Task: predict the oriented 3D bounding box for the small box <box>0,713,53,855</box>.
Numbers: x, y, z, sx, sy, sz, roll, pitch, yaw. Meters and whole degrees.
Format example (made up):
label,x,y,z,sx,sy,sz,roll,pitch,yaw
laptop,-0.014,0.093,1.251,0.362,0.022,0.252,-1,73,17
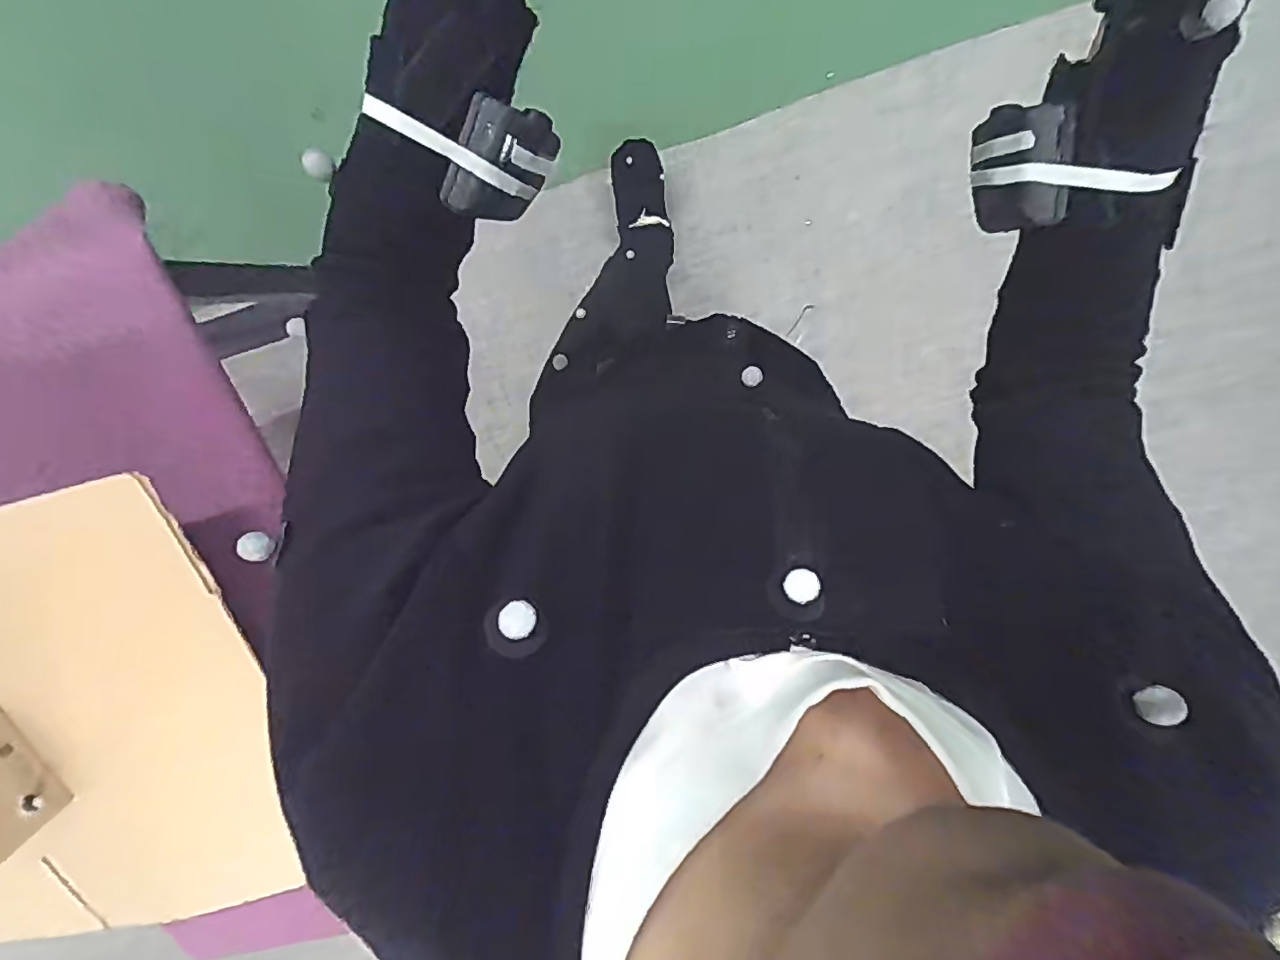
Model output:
label,x,y,z,sx,sy,sz,roll,pitch,yaw
small box,-0.819,0.369,0.589,0.179,0.176,0.168,-13,109,8
